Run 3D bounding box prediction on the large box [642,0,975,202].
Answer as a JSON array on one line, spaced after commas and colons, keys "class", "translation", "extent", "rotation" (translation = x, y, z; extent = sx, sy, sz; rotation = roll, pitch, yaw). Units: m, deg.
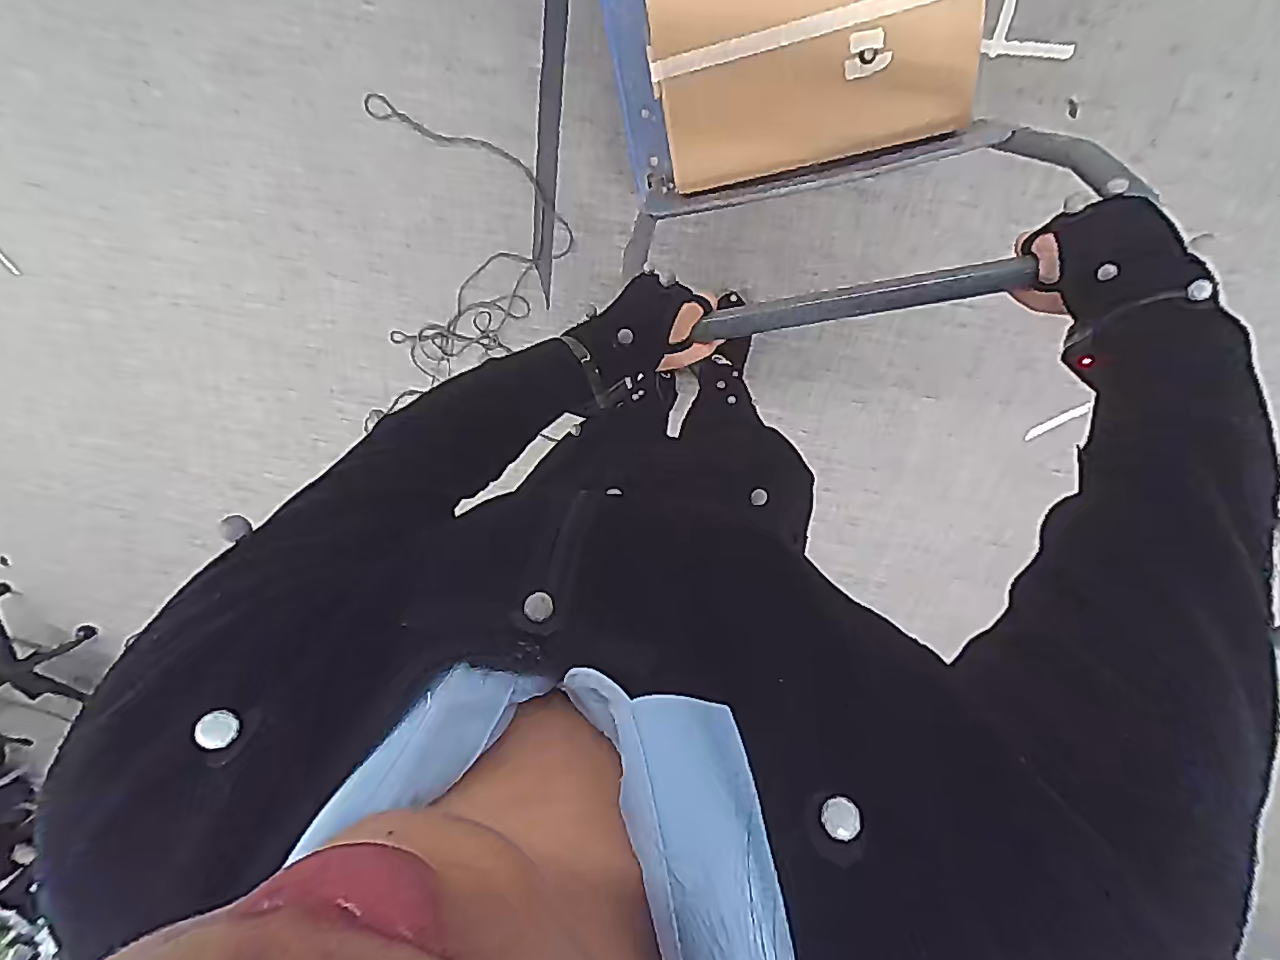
[{"class": "large box", "translation": [0.227, -0.650, 0.818], "extent": [0.408, 0.320, 0.320], "rotation": [-8, 123, 11]}]
